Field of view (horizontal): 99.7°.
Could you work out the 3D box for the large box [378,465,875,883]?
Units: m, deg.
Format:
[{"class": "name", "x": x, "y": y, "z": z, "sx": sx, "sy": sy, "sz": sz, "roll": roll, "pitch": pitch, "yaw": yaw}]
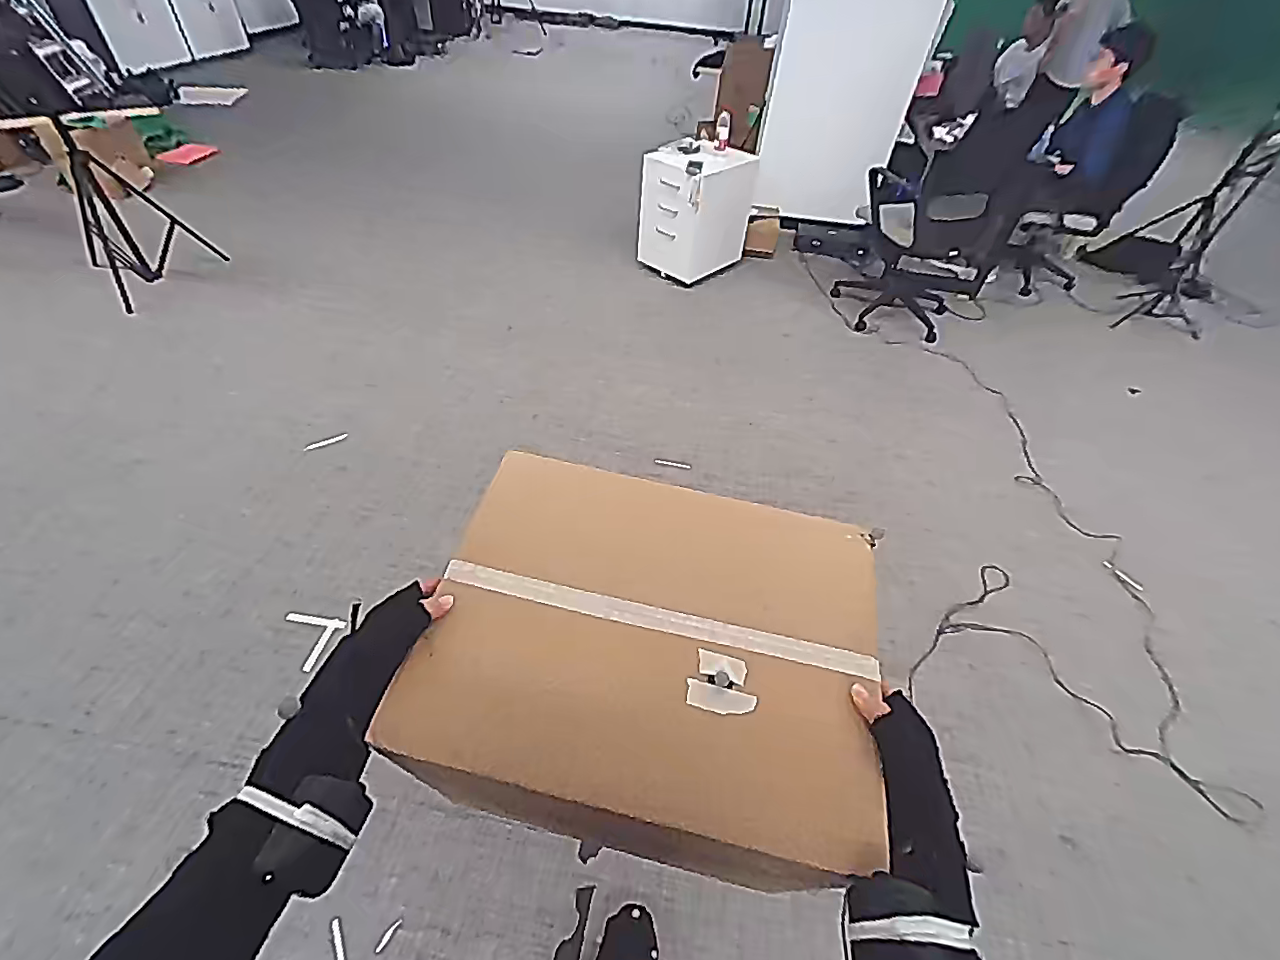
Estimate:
[{"class": "large box", "x": 0.000, "y": 0.227, "z": 0.623, "sx": 0.408, "sy": 0.320, "sz": 0.320, "roll": 12, "pitch": 53, "yaw": 4}]
